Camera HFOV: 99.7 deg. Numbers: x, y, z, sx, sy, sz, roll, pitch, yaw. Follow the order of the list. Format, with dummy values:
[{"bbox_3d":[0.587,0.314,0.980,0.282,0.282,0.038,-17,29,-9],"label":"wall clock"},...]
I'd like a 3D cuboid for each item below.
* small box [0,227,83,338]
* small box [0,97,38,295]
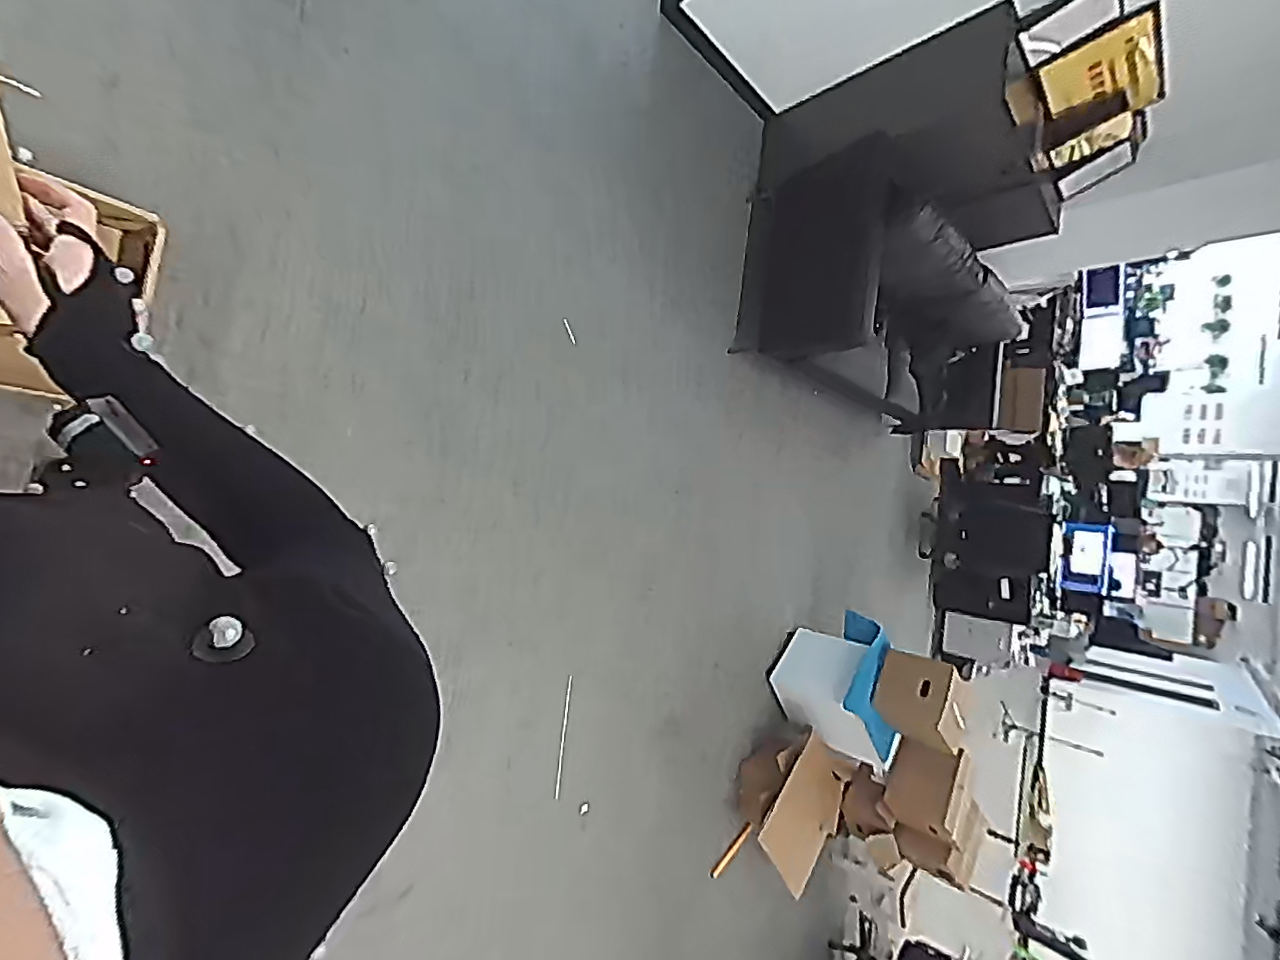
[{"bbox_3d":[-1.150,-0.360,0.989,0.168,0.176,0.179,-9,99,-44],"label":"small box"},{"bbox_3d":[-0.612,-0.259,0.423,0.168,0.176,0.179,-14,94,-47],"label":"small box"}]
